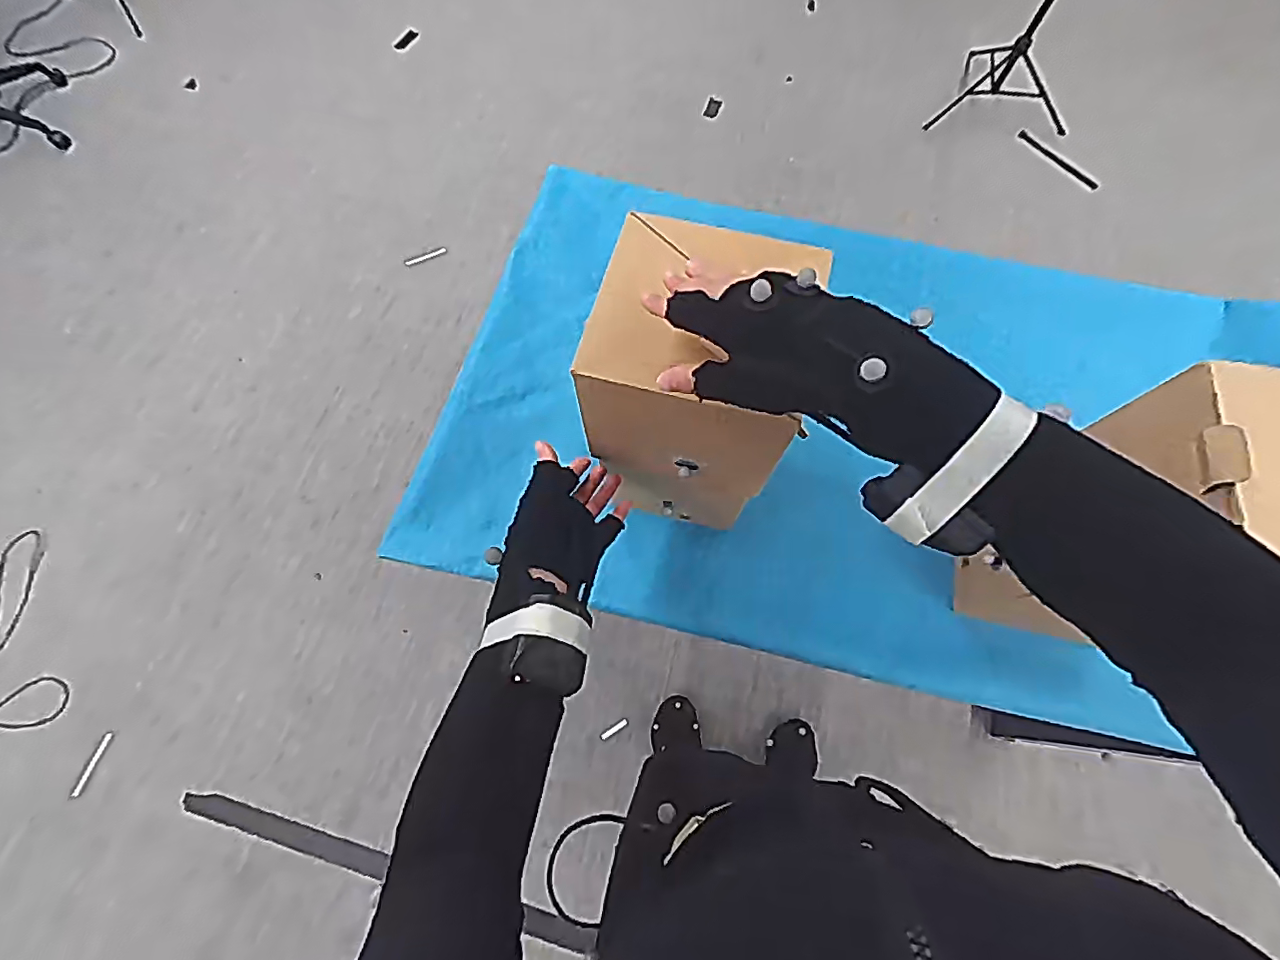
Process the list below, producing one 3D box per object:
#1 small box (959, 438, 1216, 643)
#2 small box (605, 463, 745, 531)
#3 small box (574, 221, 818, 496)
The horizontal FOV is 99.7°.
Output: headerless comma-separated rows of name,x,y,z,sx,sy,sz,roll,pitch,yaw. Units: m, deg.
small box,0.482,0.076,0.596,0.179,0.176,0.168,13,71,6
small box,0.056,-0.056,0.657,0.168,0.176,0.179,15,72,8
small box,0.053,-0.103,0.496,0.179,0.176,0.168,14,70,6
